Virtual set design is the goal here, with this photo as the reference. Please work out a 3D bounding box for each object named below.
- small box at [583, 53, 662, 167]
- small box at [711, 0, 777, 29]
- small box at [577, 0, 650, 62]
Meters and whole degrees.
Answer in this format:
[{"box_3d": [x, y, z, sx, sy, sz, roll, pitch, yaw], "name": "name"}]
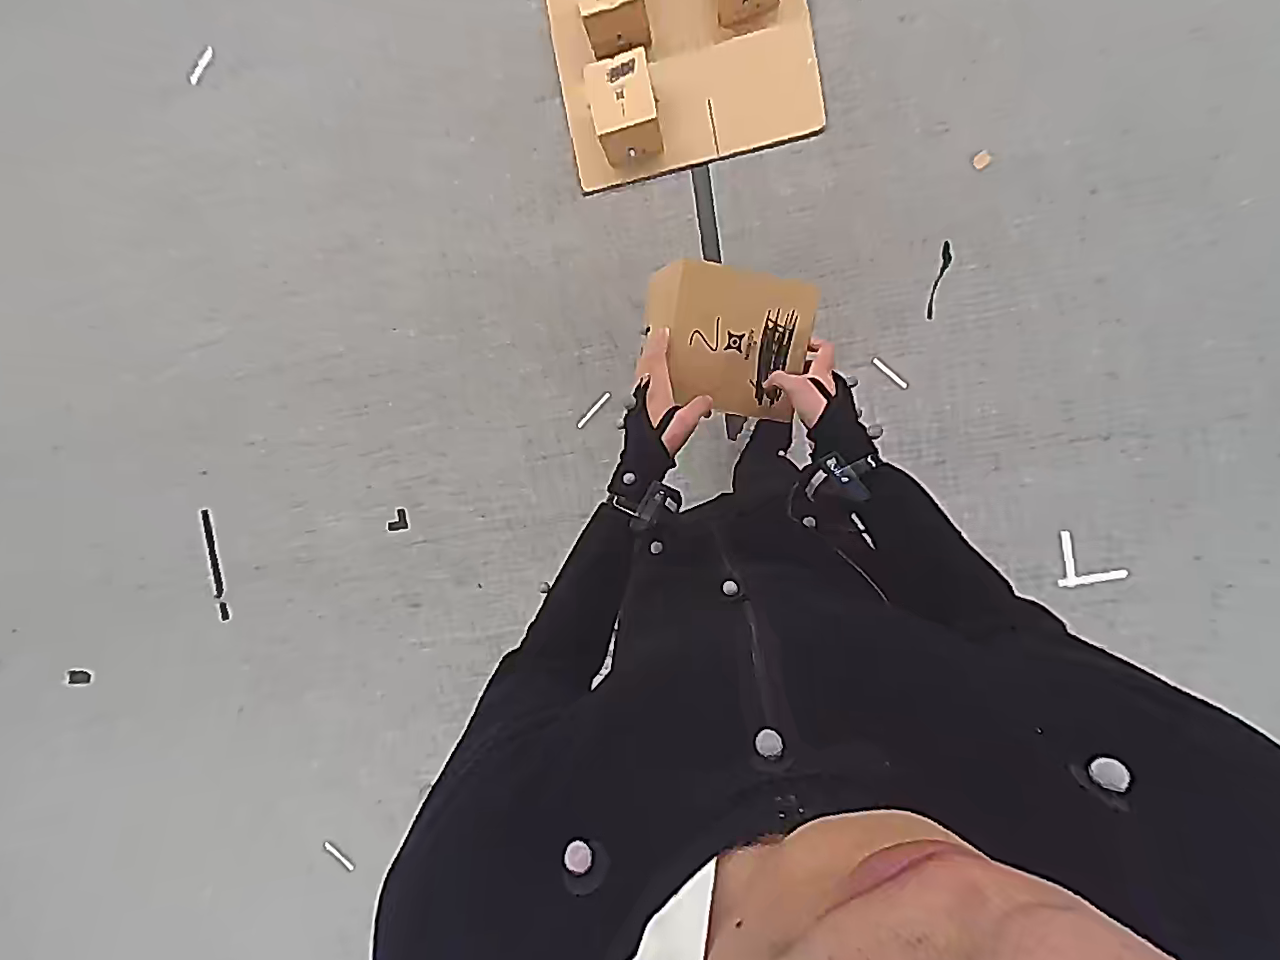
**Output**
[{"box_3d": [-0.042, -0.988, 1.459, 0.168, 0.176, 0.179, -11, 95, 10], "name": "small box"}, {"box_3d": [0.260, -1.327, 1.386, 0.168, 0.176, 0.179, -14, 94, 9], "name": "small box"}, {"box_3d": [-0.076, -1.270, 1.434, 0.168, 0.176, 0.179, -10, 94, 10], "name": "small box"}]
